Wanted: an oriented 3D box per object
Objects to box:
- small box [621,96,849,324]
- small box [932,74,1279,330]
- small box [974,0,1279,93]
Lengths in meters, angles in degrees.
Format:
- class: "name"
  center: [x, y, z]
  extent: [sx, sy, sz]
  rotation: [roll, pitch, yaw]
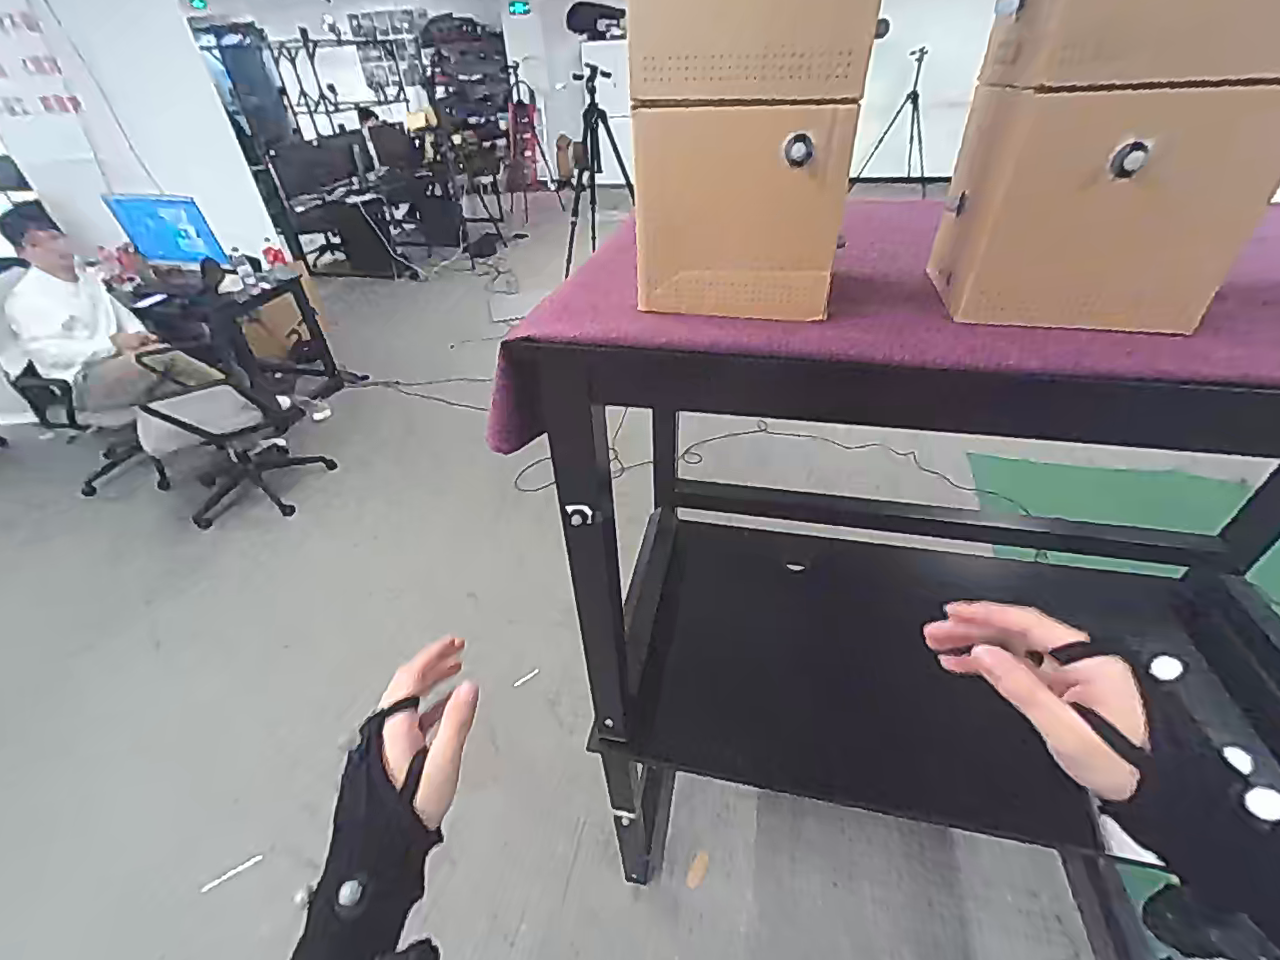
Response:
- class: "small box"
  center: [0.090, -0.259, 0.517]
  extent: [0.179, 0.176, 0.168]
  rotation: [7, 38, 12]
- class: "small box"
  center: [0.366, -0.238, 0.461]
  extent: [0.179, 0.176, 0.168]
  rotation: [7, 39, 14]
- class: "small box"
  center: [0.357, -0.368, 0.361]
  extent: [0.179, 0.176, 0.168]
  rotation: [6, 38, 14]
